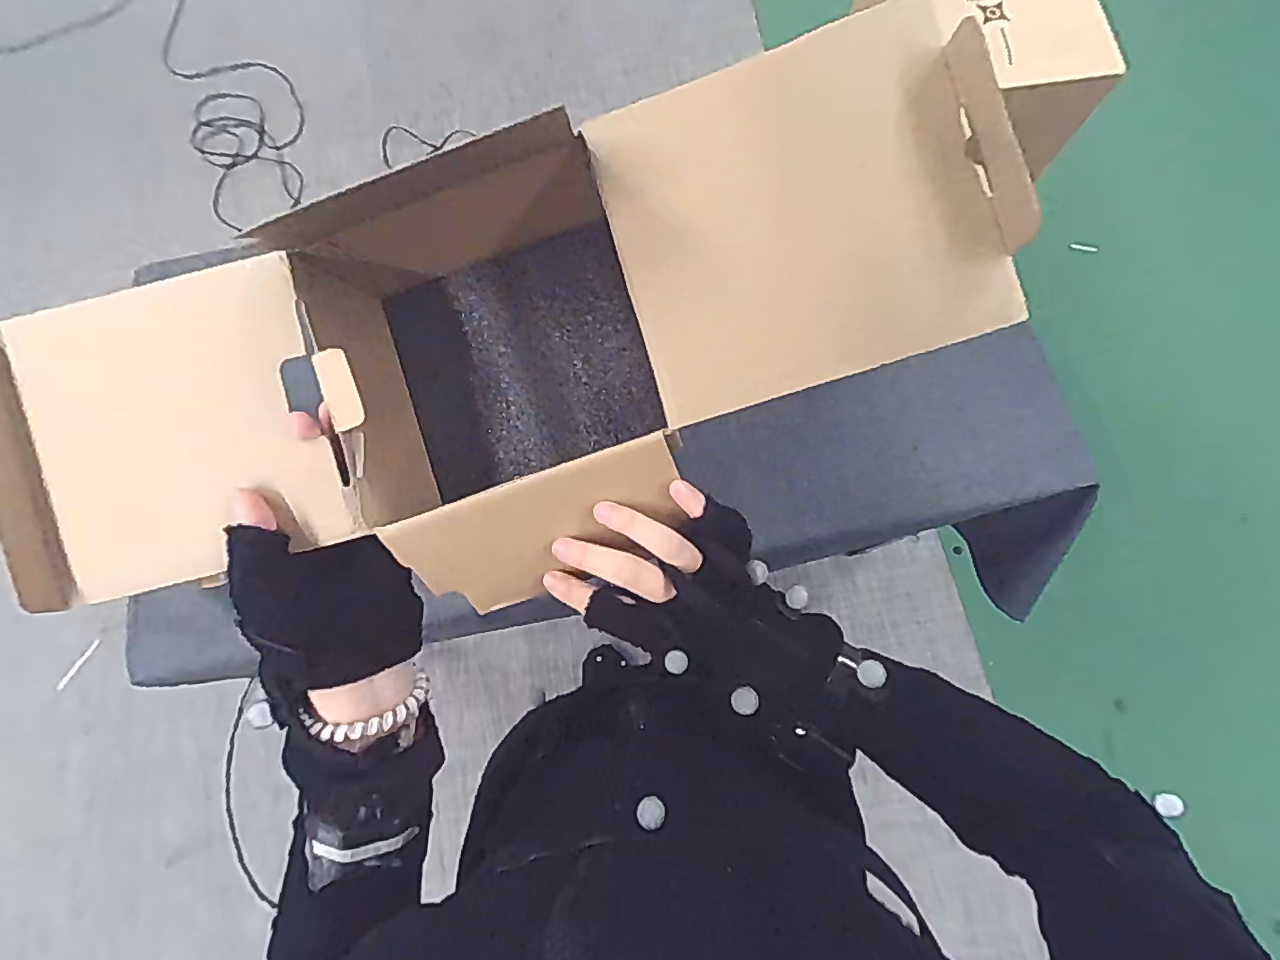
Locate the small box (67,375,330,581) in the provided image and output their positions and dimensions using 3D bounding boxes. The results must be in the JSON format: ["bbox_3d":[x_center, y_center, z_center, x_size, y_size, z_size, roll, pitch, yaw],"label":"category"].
[{"bbox_3d":[-0.488,0.008,0.624,0.168,0.176,0.179,-14,75,-2],"label":"small box"}]
